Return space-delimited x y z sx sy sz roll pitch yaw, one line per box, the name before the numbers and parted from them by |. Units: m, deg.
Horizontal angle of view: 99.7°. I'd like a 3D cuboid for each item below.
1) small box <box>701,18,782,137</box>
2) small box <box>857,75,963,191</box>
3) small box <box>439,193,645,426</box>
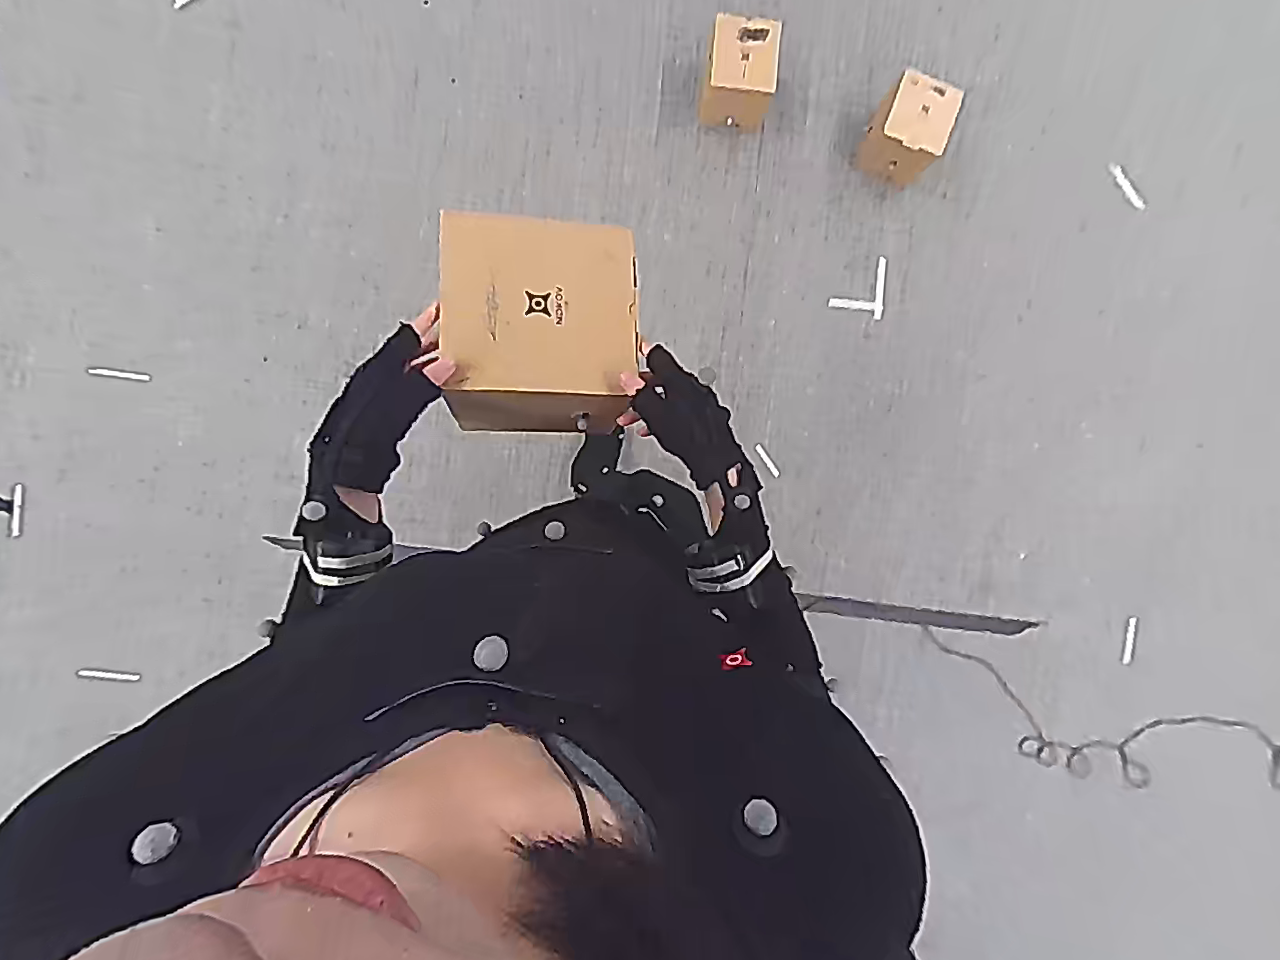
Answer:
small box | 0.258 -1.042 1.412 0.168 0.176 0.179 5 92 -4
small box | 0.708 -0.915 1.444 0.168 0.176 0.179 21 91 -4
small box | -0.101 -0.153 0.545 0.179 0.176 0.168 -2 82 -13
